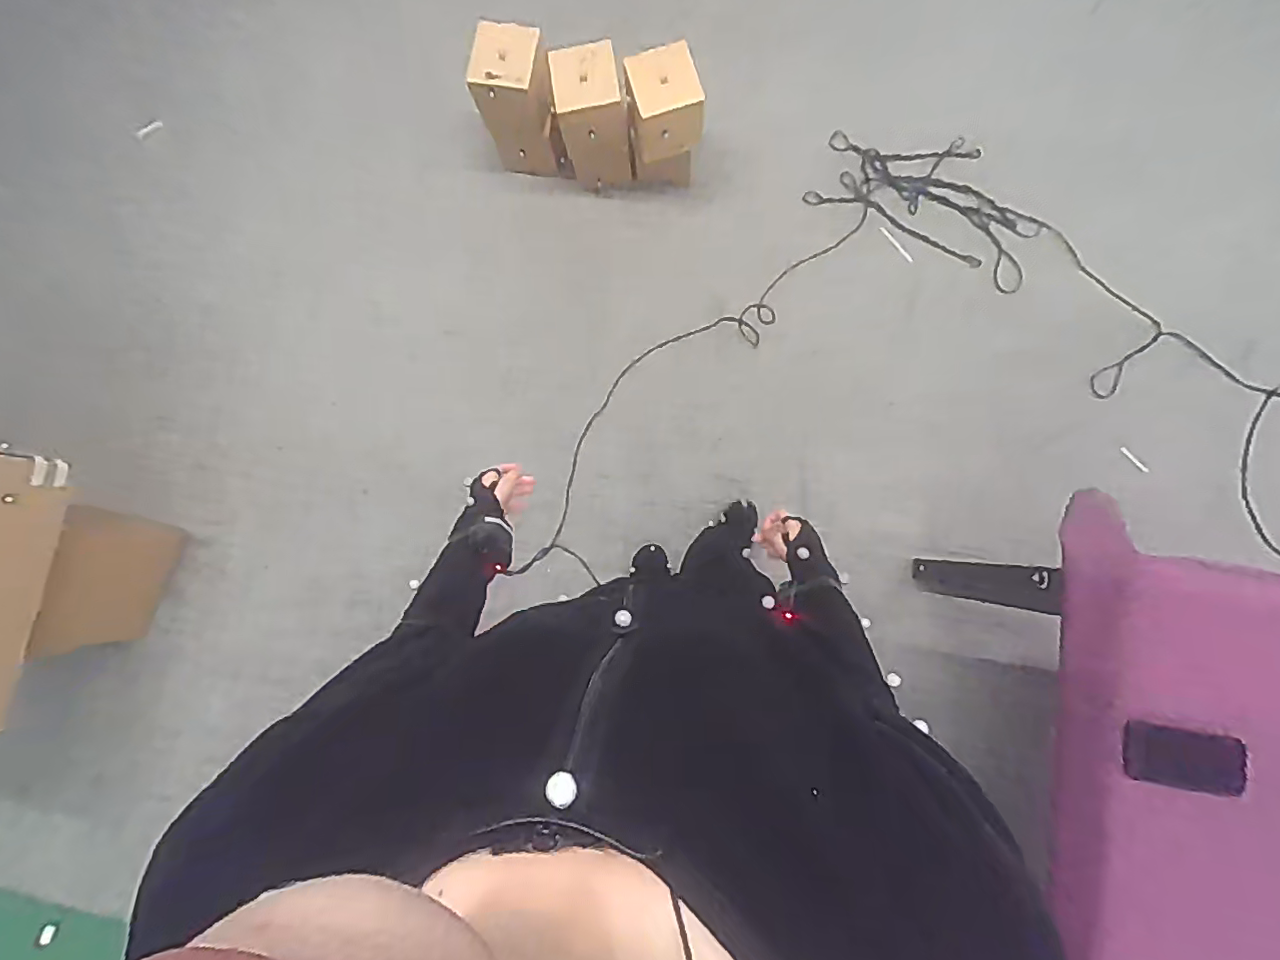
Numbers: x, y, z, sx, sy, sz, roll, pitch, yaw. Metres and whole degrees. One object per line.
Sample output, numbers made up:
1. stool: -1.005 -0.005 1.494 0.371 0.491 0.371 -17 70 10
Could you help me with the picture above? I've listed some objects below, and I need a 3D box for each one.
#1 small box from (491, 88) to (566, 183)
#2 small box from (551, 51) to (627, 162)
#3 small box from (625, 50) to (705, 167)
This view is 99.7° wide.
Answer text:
1. small box: -0.319 -1.016 1.608 0.179 0.176 0.168 8 82 5
2. small box: -0.129 -0.972 1.428 0.168 0.176 0.179 -9 82 2
3. small box: 0.067 -0.955 1.413 0.168 0.176 0.179 -17 81 1
